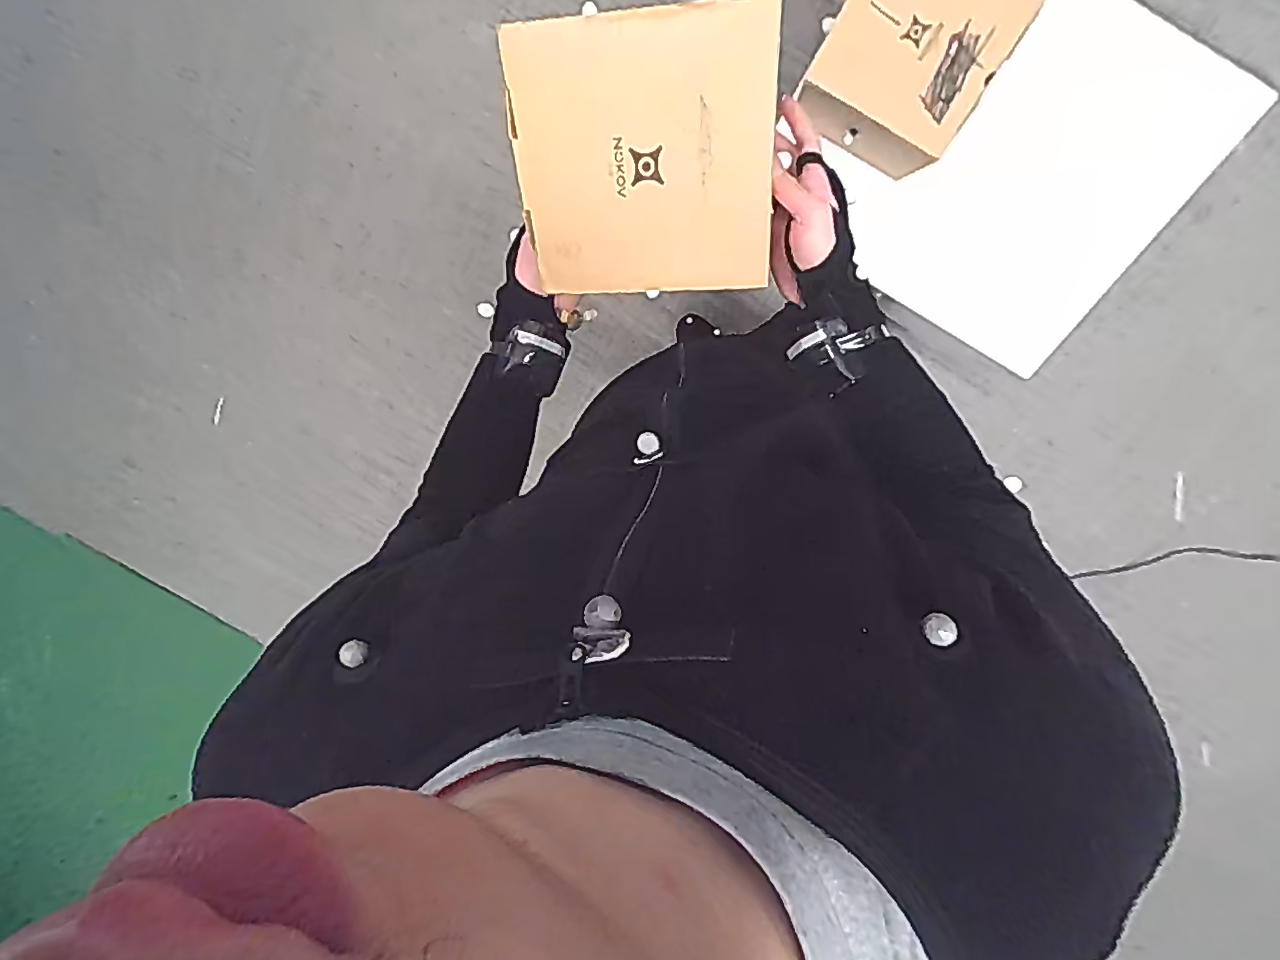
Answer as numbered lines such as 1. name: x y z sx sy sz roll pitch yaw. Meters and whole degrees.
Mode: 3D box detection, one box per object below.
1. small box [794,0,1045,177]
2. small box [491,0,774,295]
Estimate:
1. small box: 0.303 -0.482 0.633 0.179 0.176 0.168 30 113 -2
2. small box: 0.011 -0.254 0.428 0.179 0.176 0.168 1 125 11
